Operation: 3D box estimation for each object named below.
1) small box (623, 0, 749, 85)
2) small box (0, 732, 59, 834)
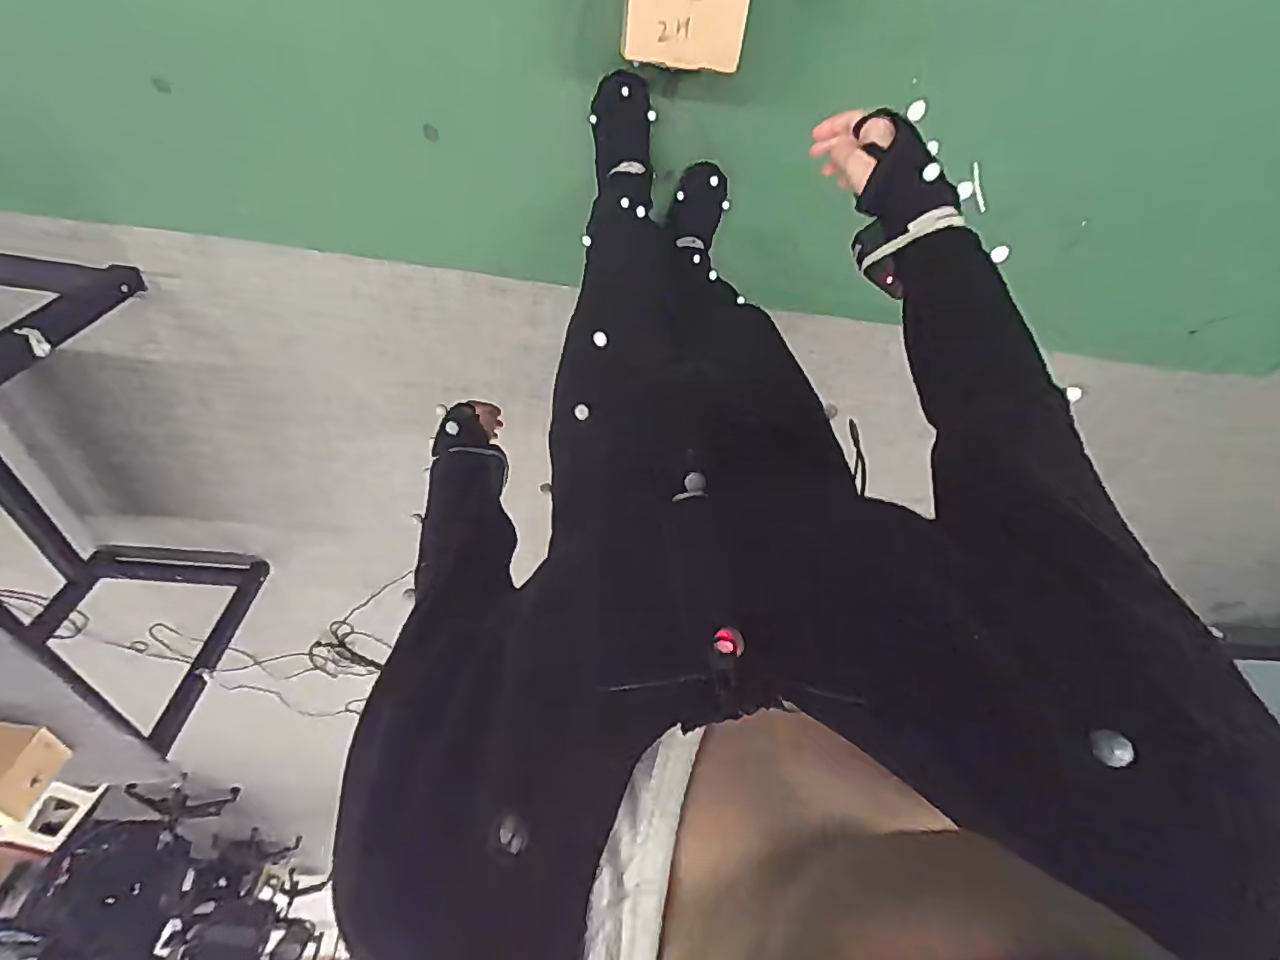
[{"bbox_3d":[0.063,-0.704,0.791,0.168,0.176,0.179,4,132,-5],"label":"small box"},{"bbox_3d":[-1.491,0.678,1.223,0.179,0.176,0.168,11,131,-11],"label":"small box"}]
